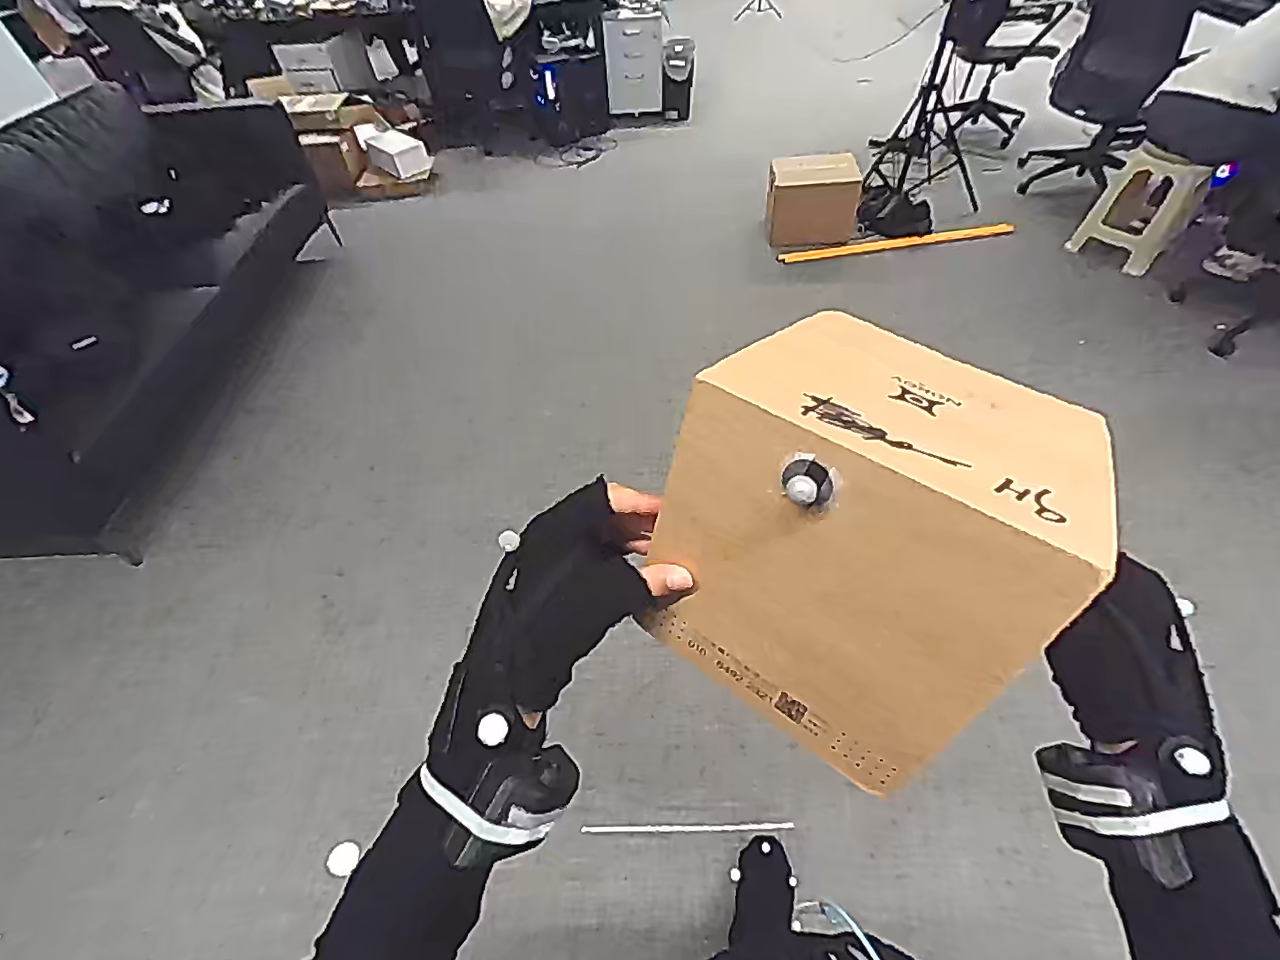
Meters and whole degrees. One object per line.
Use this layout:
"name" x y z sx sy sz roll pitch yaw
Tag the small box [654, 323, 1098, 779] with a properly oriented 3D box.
"small box" 0.127 0.026 0.325 0.168 0.176 0.179 30 38 24
